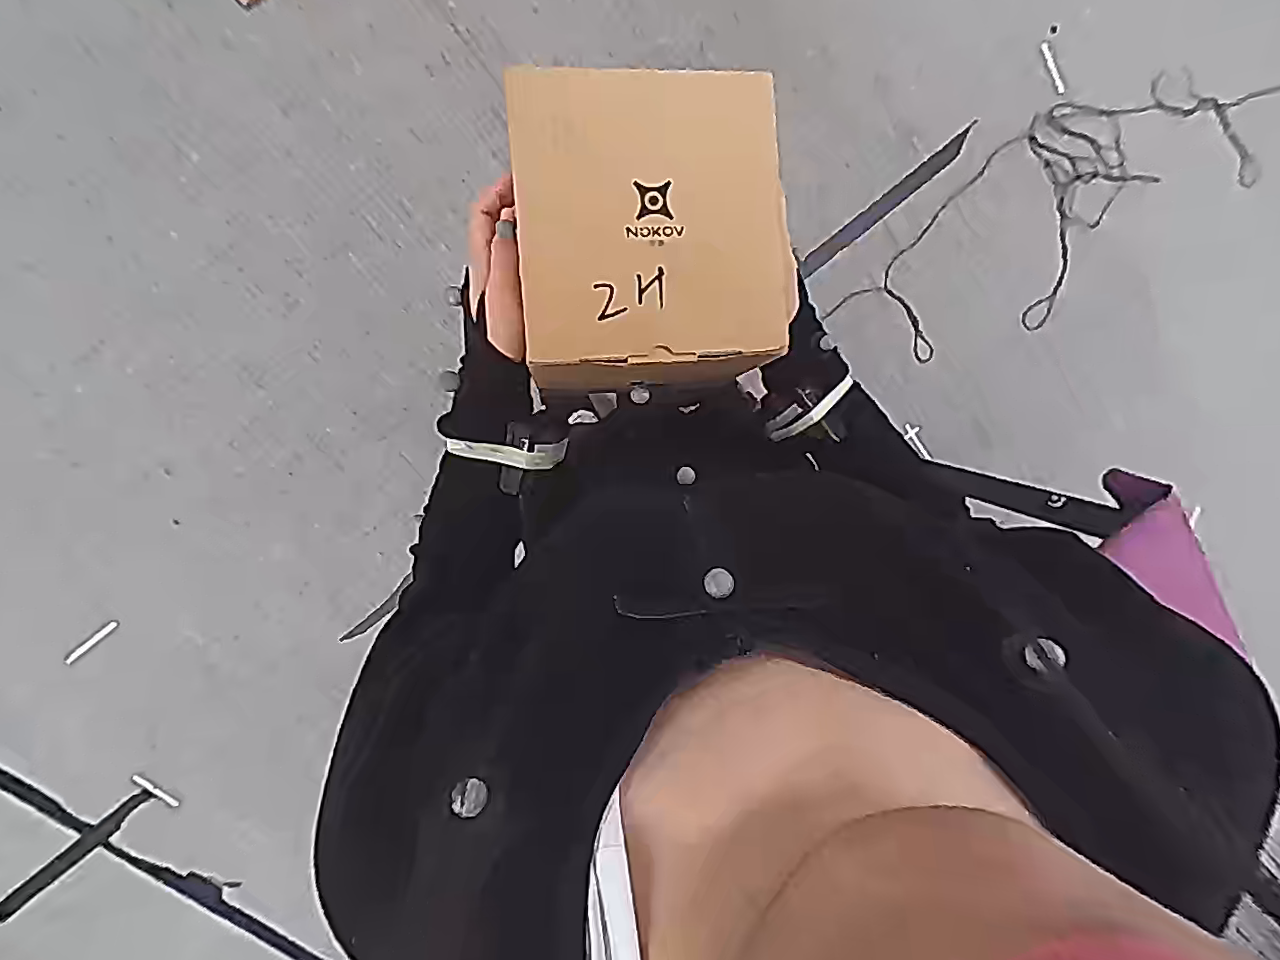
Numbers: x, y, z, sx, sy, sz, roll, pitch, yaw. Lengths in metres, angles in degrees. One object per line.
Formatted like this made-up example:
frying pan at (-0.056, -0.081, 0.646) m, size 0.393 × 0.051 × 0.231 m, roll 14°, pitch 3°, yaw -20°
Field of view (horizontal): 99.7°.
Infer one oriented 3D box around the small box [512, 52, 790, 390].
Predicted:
small box at (-0.002, -0.168, 0.404) m, size 0.168 × 0.176 × 0.179 m, roll -4°, pitch 93°, yaw -7°
